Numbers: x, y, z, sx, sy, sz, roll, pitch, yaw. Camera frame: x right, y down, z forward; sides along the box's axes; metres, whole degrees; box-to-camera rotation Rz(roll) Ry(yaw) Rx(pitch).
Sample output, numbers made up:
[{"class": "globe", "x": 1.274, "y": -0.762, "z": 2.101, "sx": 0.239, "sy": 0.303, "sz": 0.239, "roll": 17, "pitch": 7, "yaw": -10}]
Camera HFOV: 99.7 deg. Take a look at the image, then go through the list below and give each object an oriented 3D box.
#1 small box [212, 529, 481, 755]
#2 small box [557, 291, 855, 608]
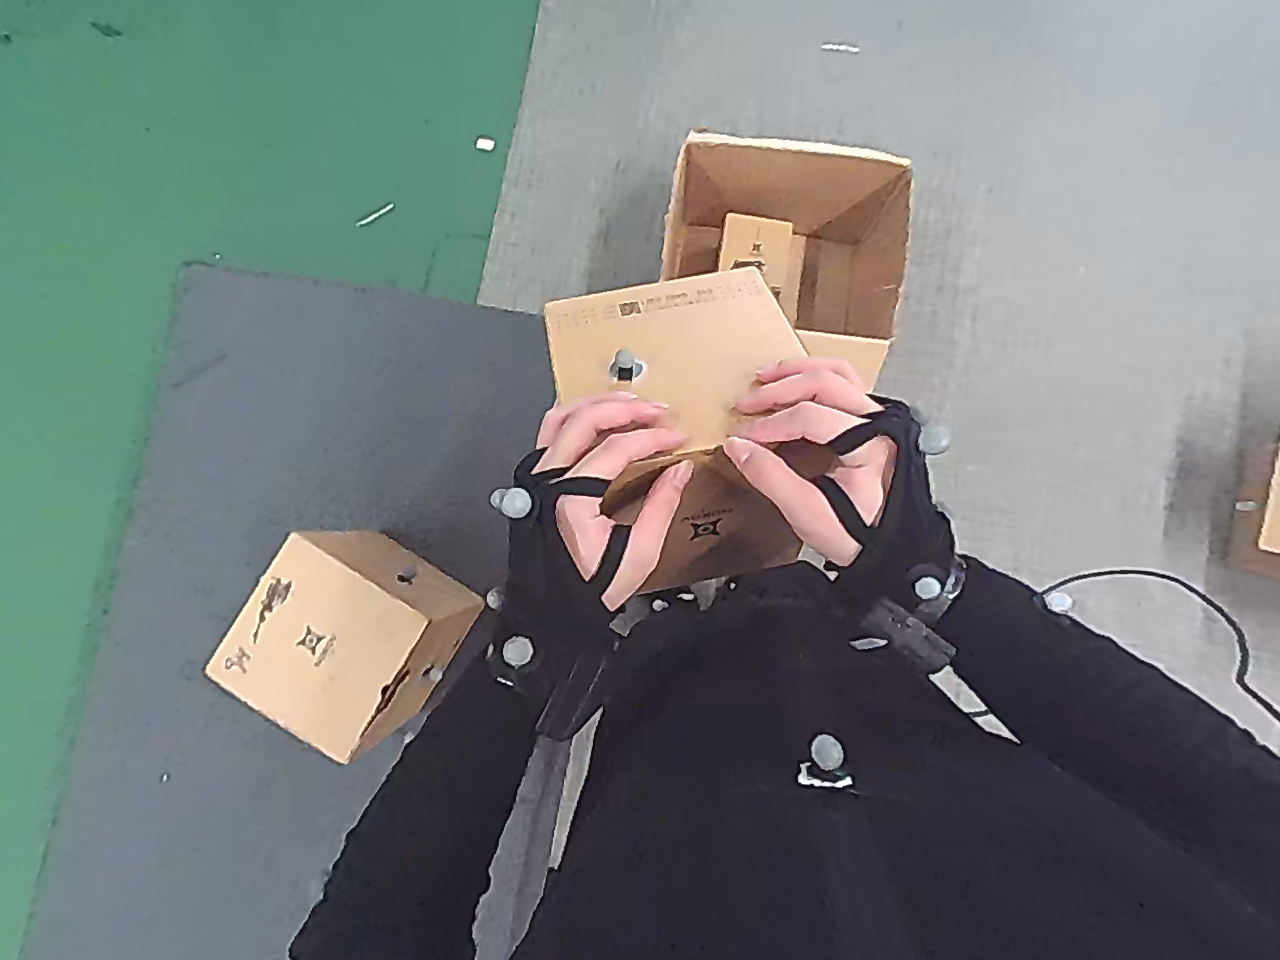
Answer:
[{"class": "small box", "x": -0.314, "y": 0.166, "z": 0.621, "sx": 0.179, "sy": 0.176, "sz": 0.168, "roll": 31, "pitch": 87, "yaw": 5}, {"class": "small box", "x": 0.034, "y": -0.027, "z": 0.420, "sx": 0.168, "sy": 0.179, "sz": 0.176, "roll": -10, "pitch": 53, "yaw": -4}]
